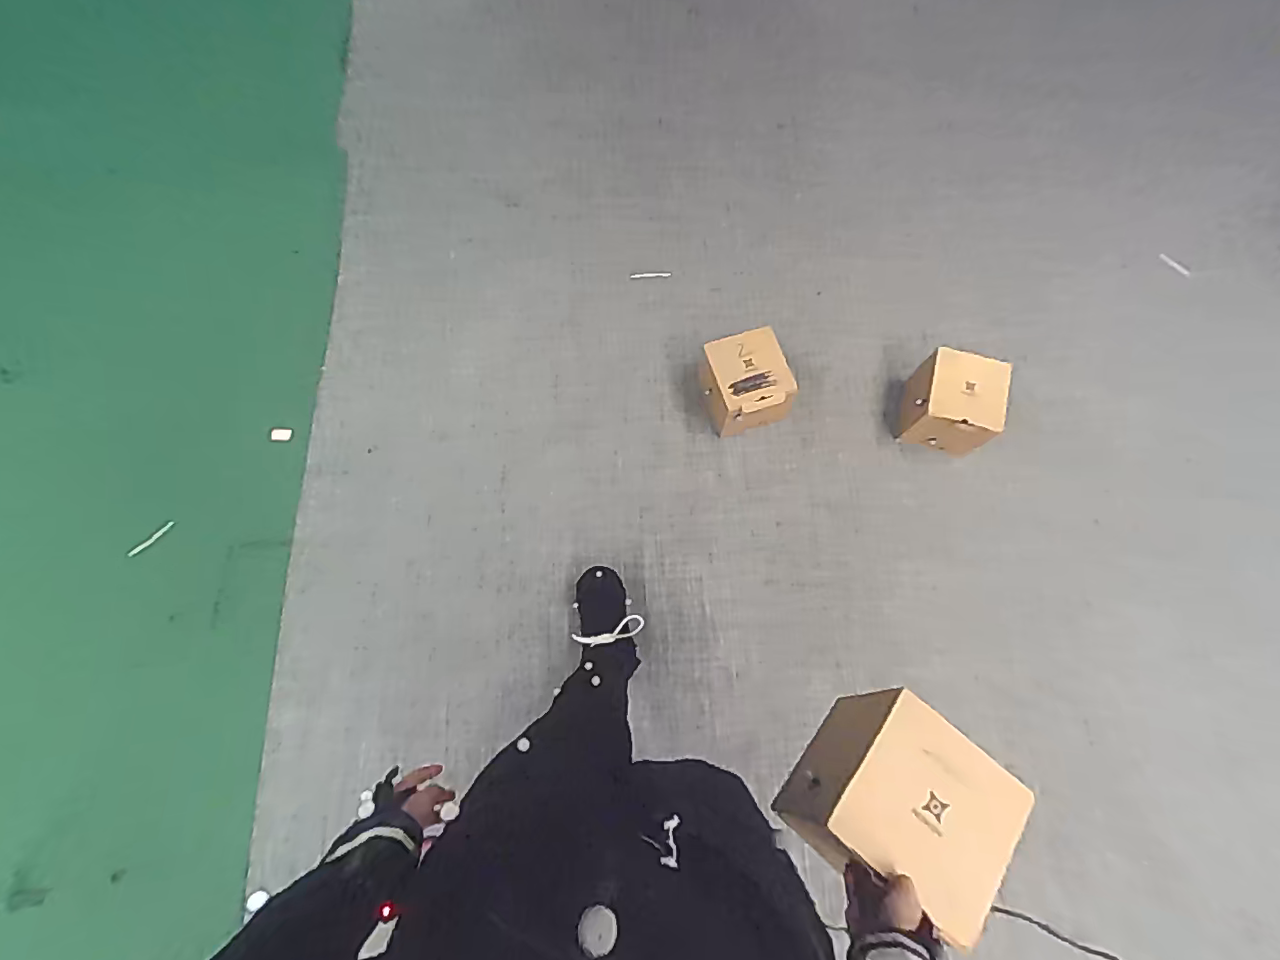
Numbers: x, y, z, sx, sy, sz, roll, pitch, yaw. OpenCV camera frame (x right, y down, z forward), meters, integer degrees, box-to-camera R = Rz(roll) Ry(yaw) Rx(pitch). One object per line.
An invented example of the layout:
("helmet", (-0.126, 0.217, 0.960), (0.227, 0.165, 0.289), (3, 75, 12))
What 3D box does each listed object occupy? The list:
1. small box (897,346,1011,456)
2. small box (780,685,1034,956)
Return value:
("small box", (0.725, -0.178, 1.264), (0.168, 0.176, 0.179), (16, 75, 5))
("small box", (0.283, 0.365, 0.614), (0.168, 0.176, 0.179), (41, 65, 11))
